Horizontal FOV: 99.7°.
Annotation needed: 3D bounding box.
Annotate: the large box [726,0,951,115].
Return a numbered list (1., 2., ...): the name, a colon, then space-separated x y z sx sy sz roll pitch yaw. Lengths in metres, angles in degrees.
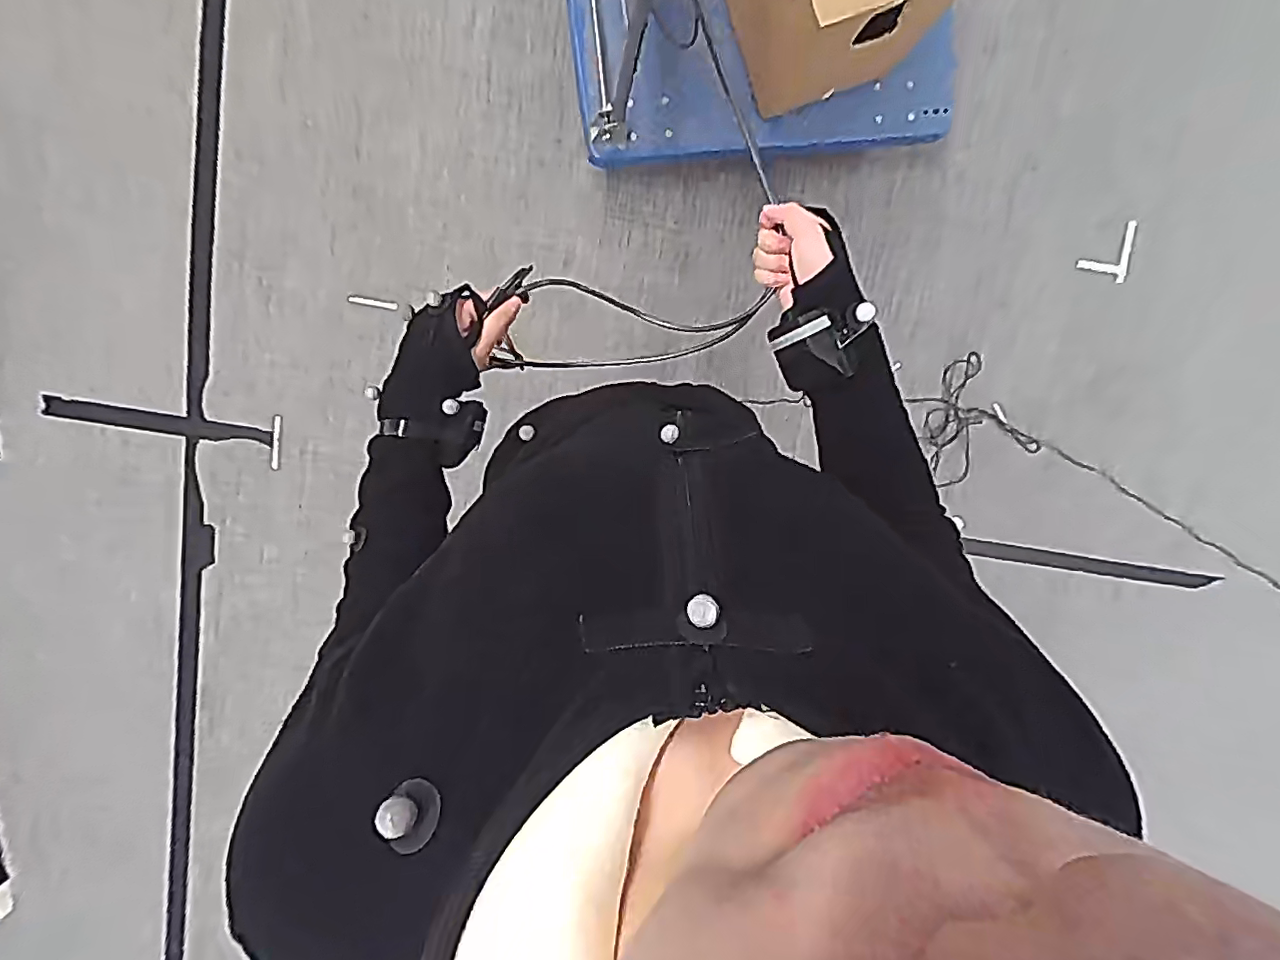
1. large box: 0.362 -1.038 1.054 0.320 0.320 0.408 -22 101 -2
